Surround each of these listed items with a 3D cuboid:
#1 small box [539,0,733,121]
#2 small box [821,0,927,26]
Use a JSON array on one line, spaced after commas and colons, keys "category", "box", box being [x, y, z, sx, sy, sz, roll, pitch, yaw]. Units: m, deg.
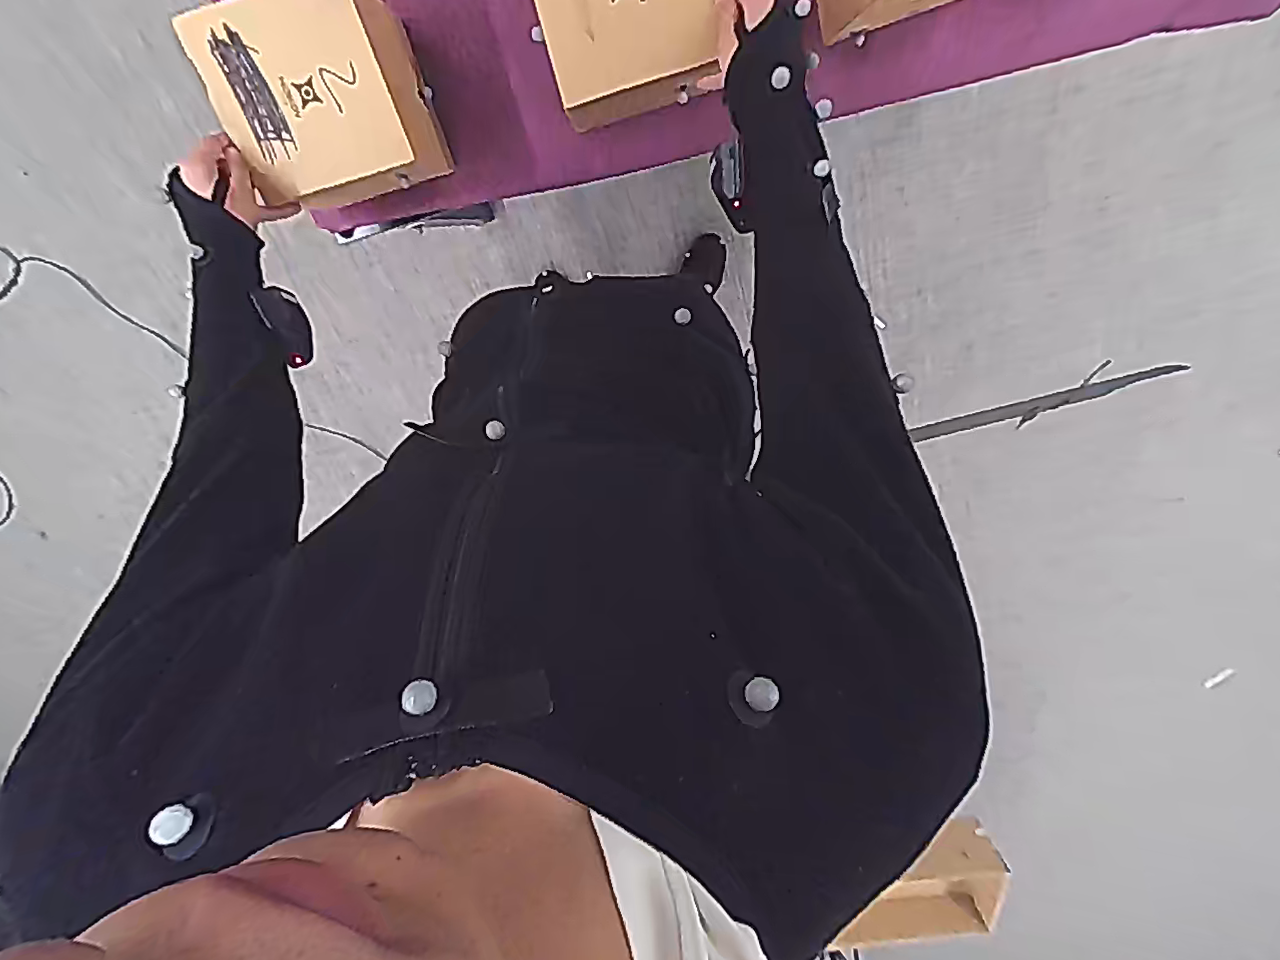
[{"category": "small box", "box": [-0.015, -0.510, 0.575, 0.179, 0.176, 0.168, -15, 114, 5]}, {"category": "small box", "box": [0.279, -0.597, 0.541, 0.168, 0.176, 0.179, -16, 114, 6]}]
